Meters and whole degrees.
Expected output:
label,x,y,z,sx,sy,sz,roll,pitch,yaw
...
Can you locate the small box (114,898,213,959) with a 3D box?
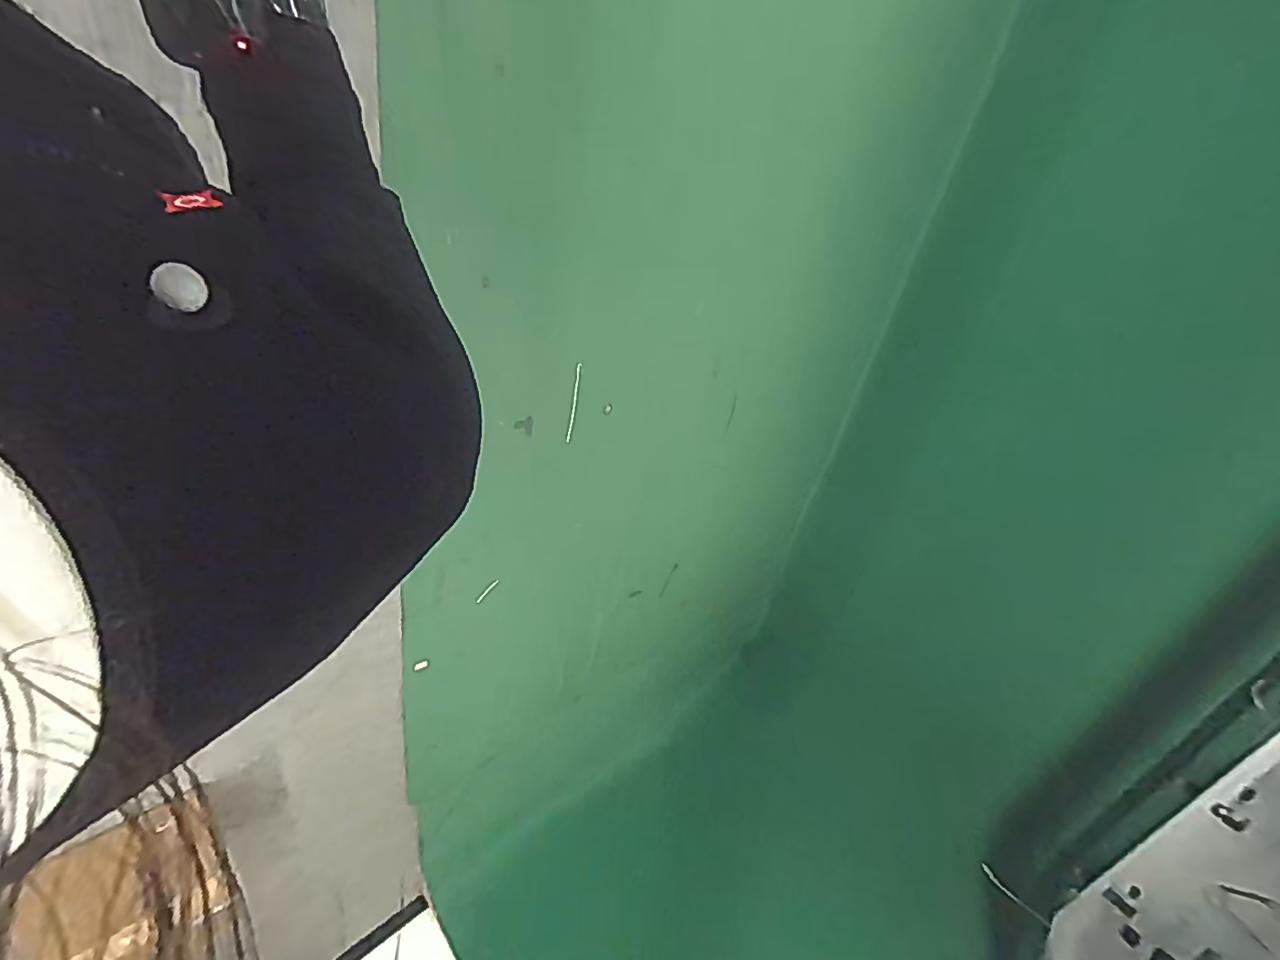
label,x,y,z,sx,sy,sz,roll,pitch,yaw
small box,-1.282,1.297,1.458,0.179,0.176,0.168,-18,126,-40
